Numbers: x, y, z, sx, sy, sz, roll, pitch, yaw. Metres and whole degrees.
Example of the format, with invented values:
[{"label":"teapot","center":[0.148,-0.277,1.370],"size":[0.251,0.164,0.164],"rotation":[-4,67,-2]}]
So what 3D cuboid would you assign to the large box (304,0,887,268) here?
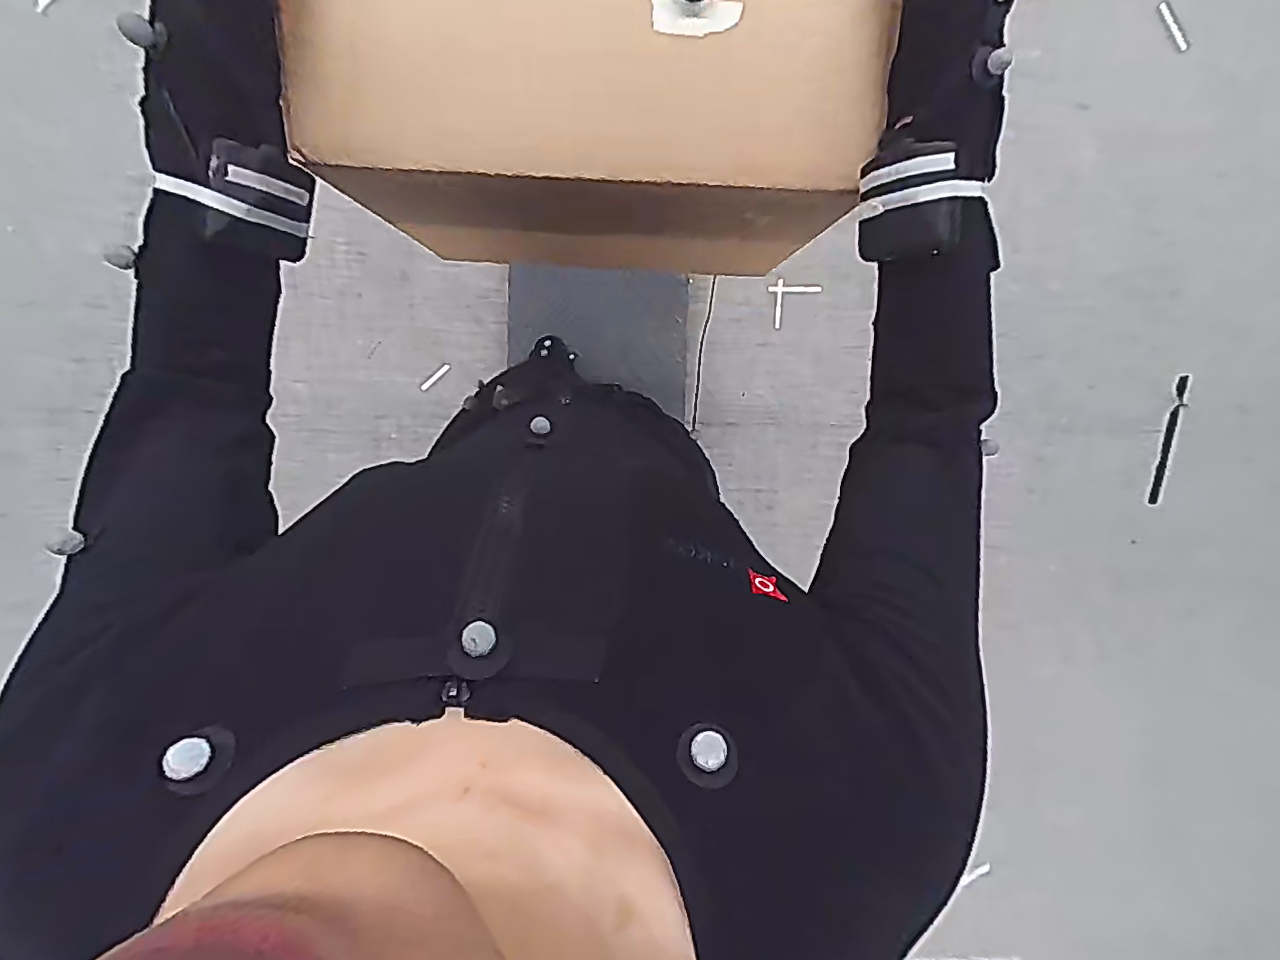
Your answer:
[{"label":"large box","center":[-0.032,-0.396,0.507],"size":[0.408,0.320,0.320],"rotation":[2,100,-2]}]
